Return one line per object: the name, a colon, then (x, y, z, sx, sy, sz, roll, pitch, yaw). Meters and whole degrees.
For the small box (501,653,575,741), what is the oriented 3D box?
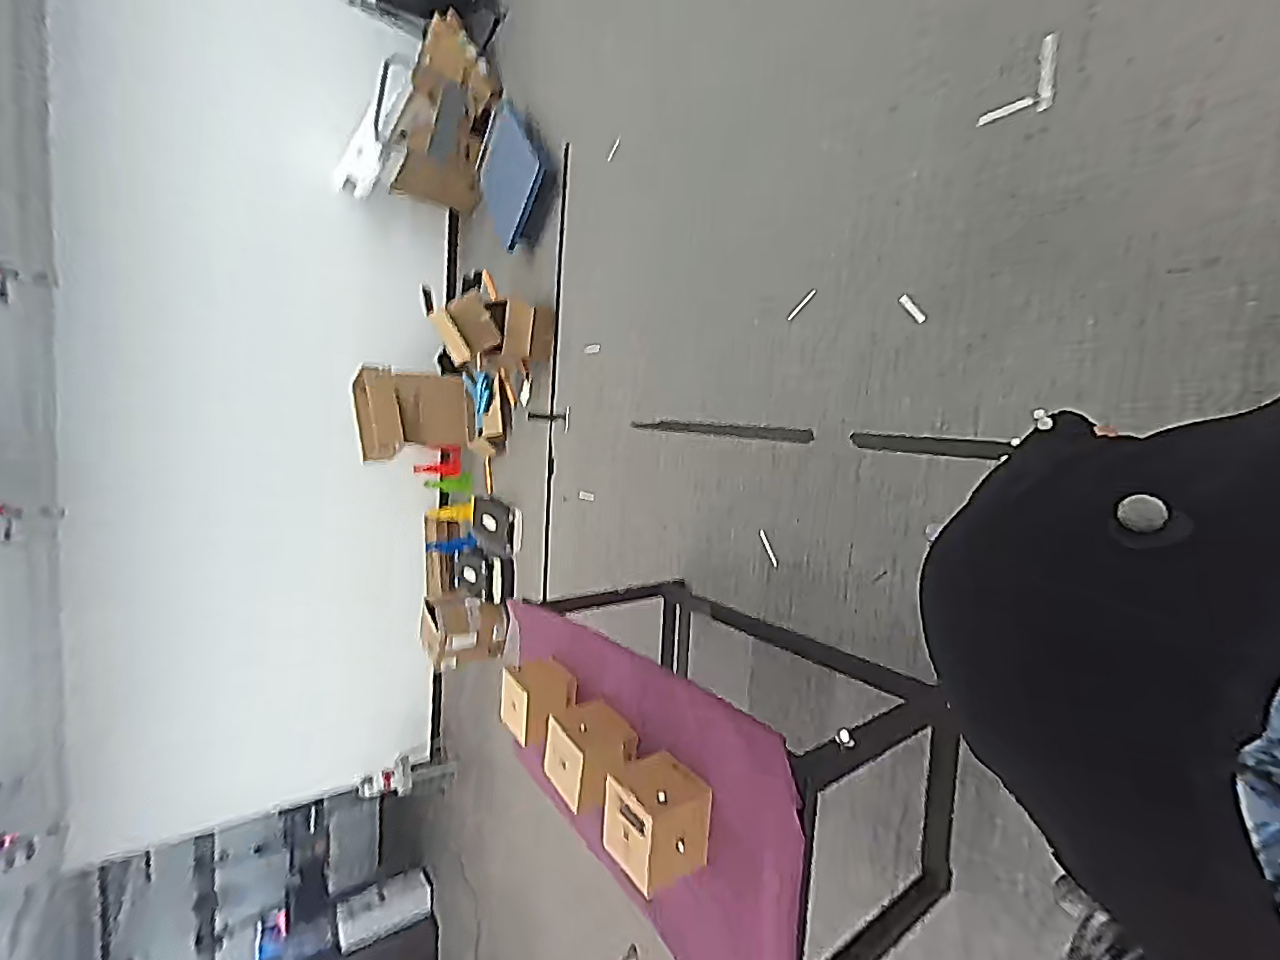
small box: (-0.309, 0.646, 1.639, 0.179, 0.176, 0.168, 16, 104, 52)

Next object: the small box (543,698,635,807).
small box: (-0.132, 0.693, 1.402, 0.179, 0.176, 0.168, 23, 108, 51)
